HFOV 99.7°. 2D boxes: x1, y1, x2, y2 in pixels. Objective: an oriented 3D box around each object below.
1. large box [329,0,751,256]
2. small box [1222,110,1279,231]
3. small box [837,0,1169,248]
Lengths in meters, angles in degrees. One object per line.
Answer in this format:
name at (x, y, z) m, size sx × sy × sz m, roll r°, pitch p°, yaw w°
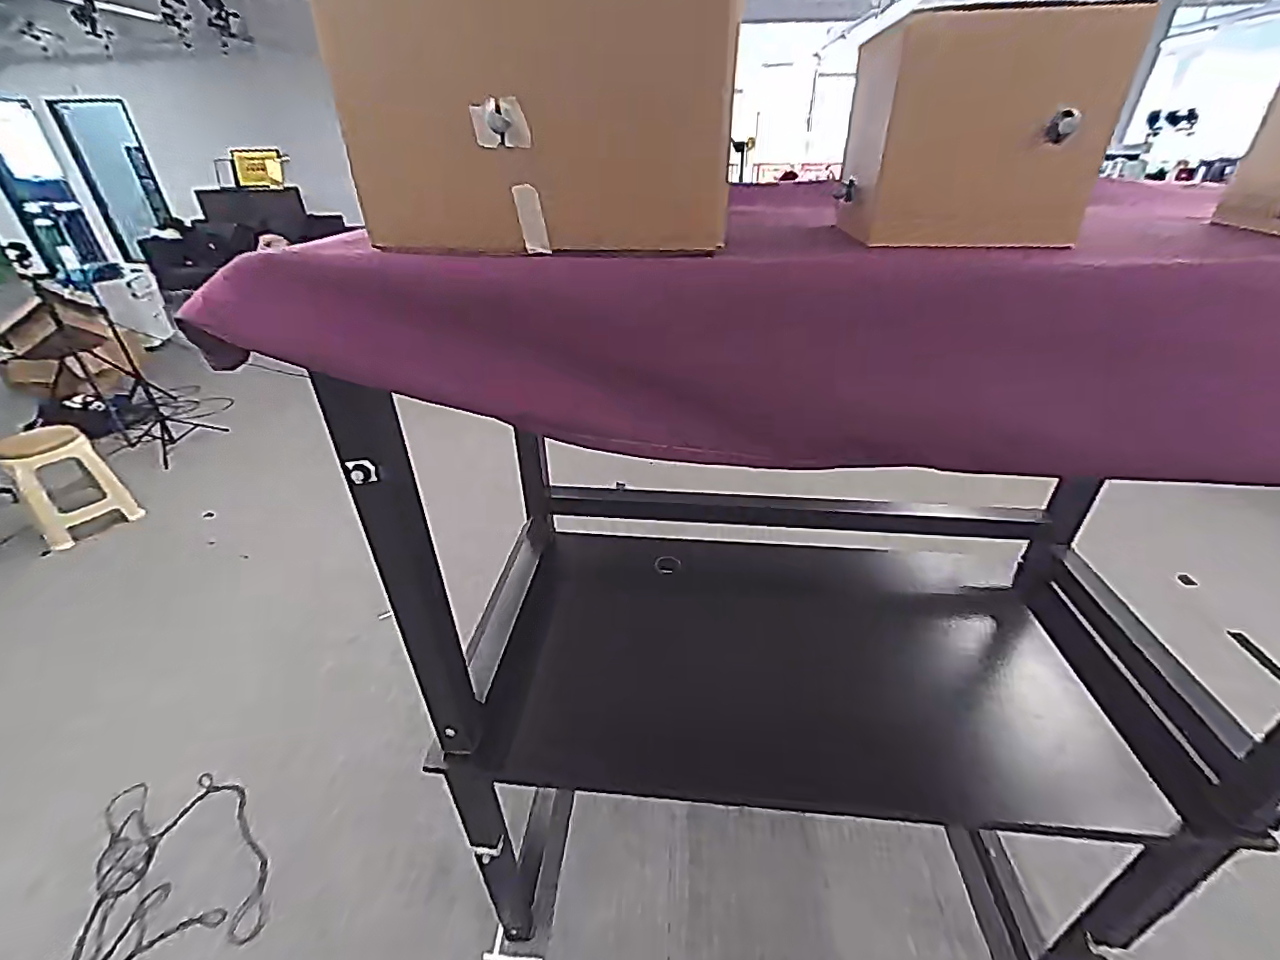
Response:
large box at (-0.059, -0.421, 0.549) m, size 0.320 × 0.320 × 0.408 m, roll 3°, pitch 31°, yaw 5°
small box at (0.681, -0.298, 0.457) m, size 0.179 × 0.176 × 0.168 m, roll 8°, pitch 32°, yaw 13°
small box at (0.300, -0.316, 0.499) m, size 0.179 × 0.176 × 0.168 m, roll 3°, pitch 31°, yaw 5°
